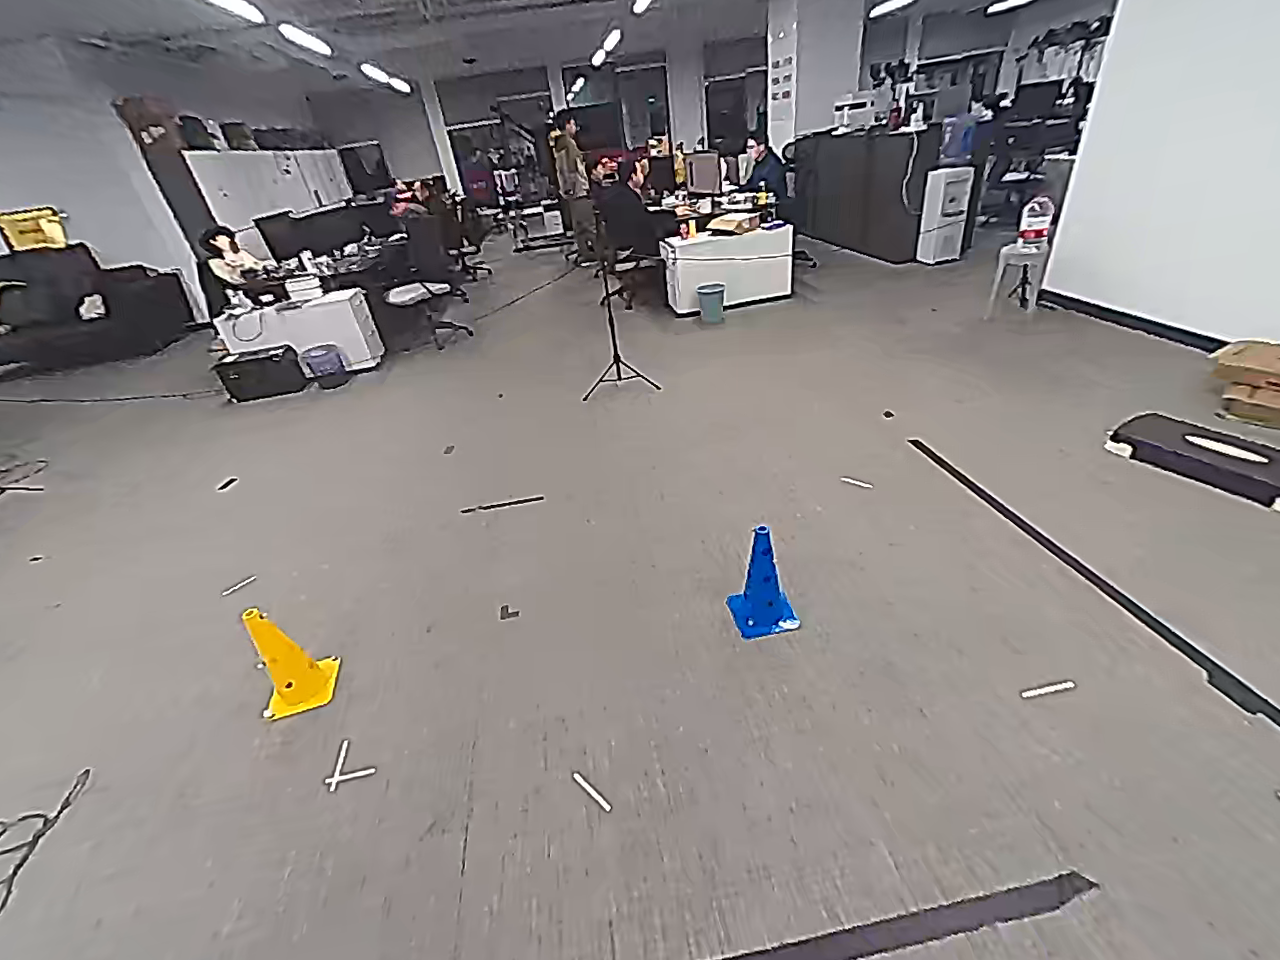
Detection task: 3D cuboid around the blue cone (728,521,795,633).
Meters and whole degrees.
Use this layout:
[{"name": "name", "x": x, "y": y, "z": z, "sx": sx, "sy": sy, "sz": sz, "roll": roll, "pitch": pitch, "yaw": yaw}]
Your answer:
[{"name": "blue cone", "x": 0.389, "y": 0.297, "z": 1.733, "sx": 0.193, "sy": 0.380, "sz": 0.192, "roll": -11, "pitch": 31, "yaw": -3}]
